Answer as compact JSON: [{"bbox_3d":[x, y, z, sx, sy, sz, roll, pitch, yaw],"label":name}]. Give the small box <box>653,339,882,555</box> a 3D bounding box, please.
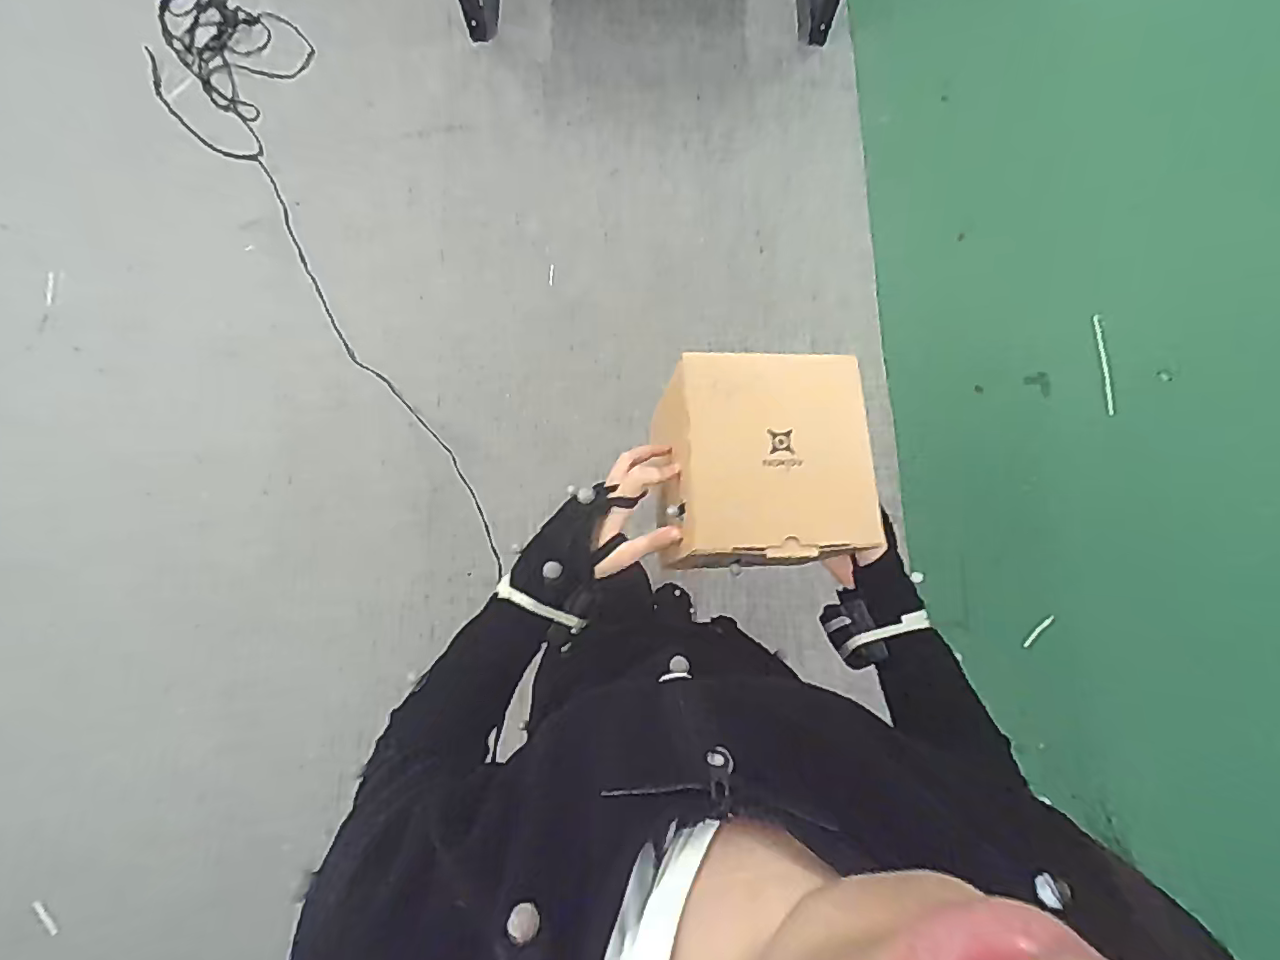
[{"bbox_3d":[0.110,-0.022,0.546,0.168,0.176,0.179,-1,77,-9],"label":"small box"}]
